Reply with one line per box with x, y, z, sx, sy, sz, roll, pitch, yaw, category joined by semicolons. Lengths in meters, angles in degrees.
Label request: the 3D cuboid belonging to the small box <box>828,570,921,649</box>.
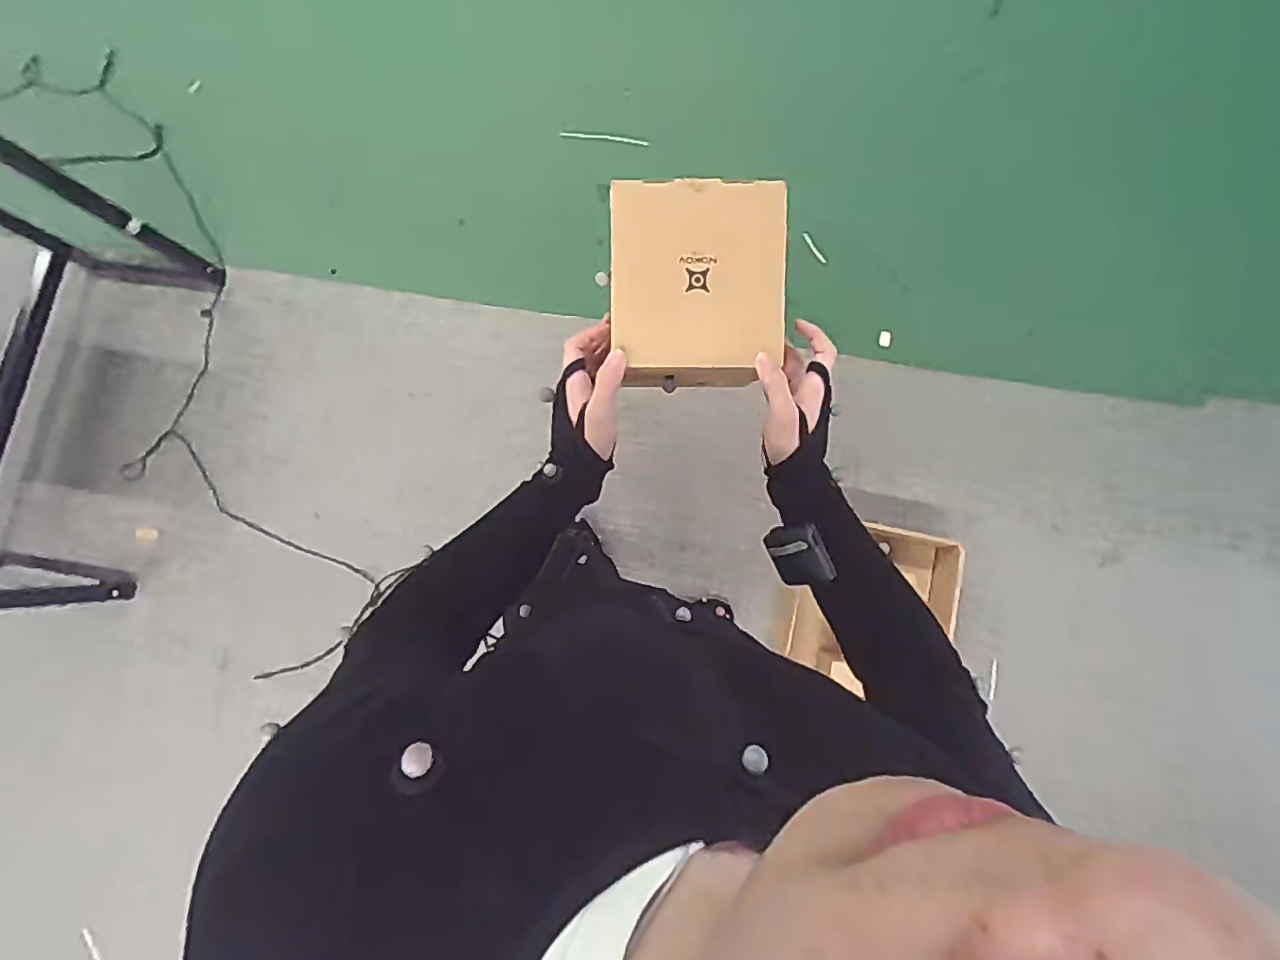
0.611;0.335;1.431;0.179;0.176;0.168;11;84;7;small box
